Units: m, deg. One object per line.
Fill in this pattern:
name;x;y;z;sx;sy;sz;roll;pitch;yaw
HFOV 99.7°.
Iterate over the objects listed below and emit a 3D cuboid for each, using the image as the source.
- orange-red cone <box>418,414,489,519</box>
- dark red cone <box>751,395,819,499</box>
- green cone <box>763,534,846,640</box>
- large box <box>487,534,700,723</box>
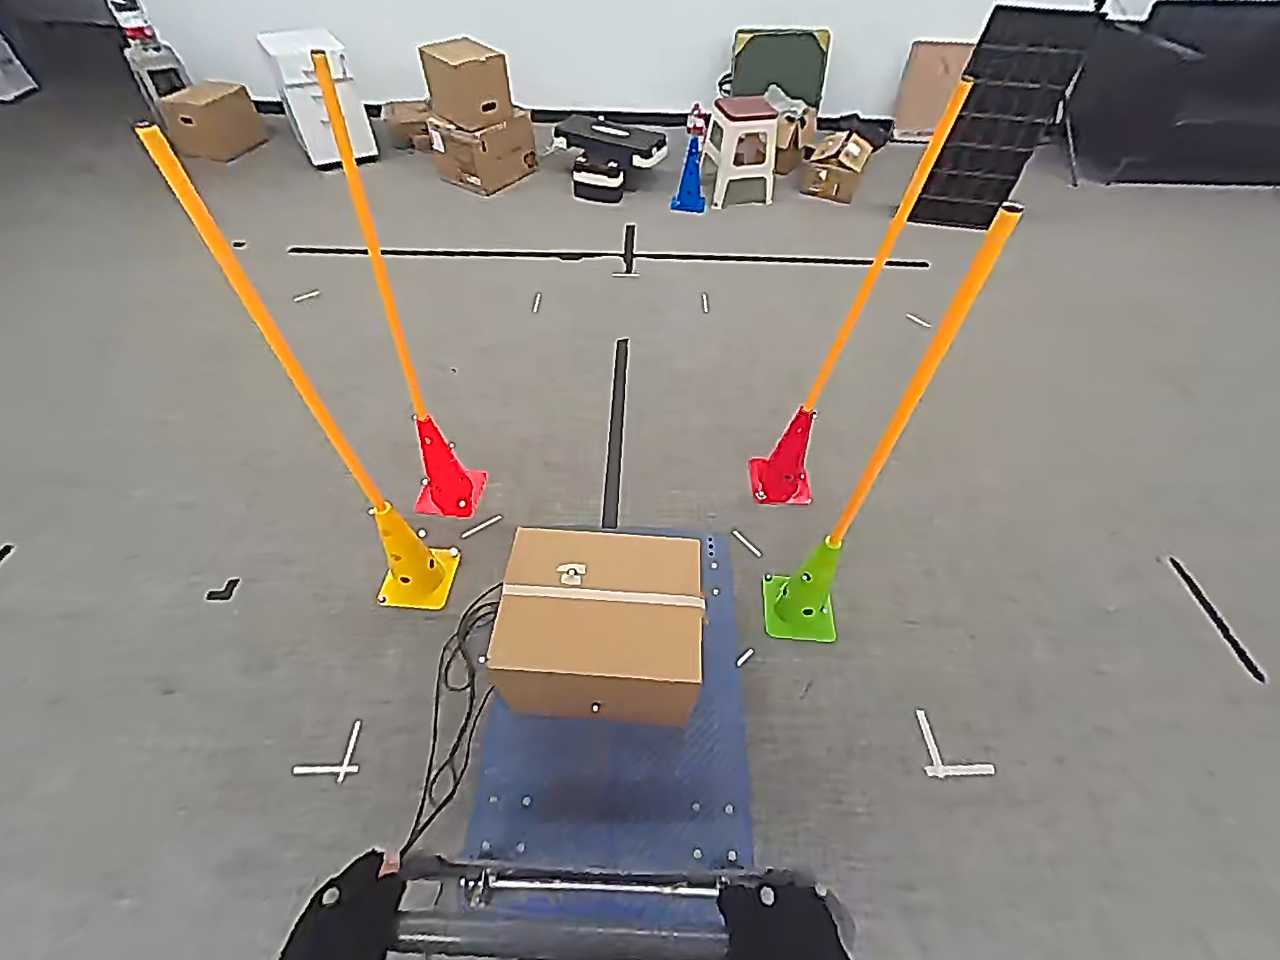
orange-red cone;-0.627;-0.068;1.717;0.198;0.360;0.199;8;50;4
dark red cone;0.504;-0.119;1.767;0.201;0.394;0.202;3;51;-2
green cone;0.476;0.267;1.473;0.202;0.368;0.200;5;51;1
large box;-0.080;0.340;1.211;0.408;0.320;0.320;3;51;2
